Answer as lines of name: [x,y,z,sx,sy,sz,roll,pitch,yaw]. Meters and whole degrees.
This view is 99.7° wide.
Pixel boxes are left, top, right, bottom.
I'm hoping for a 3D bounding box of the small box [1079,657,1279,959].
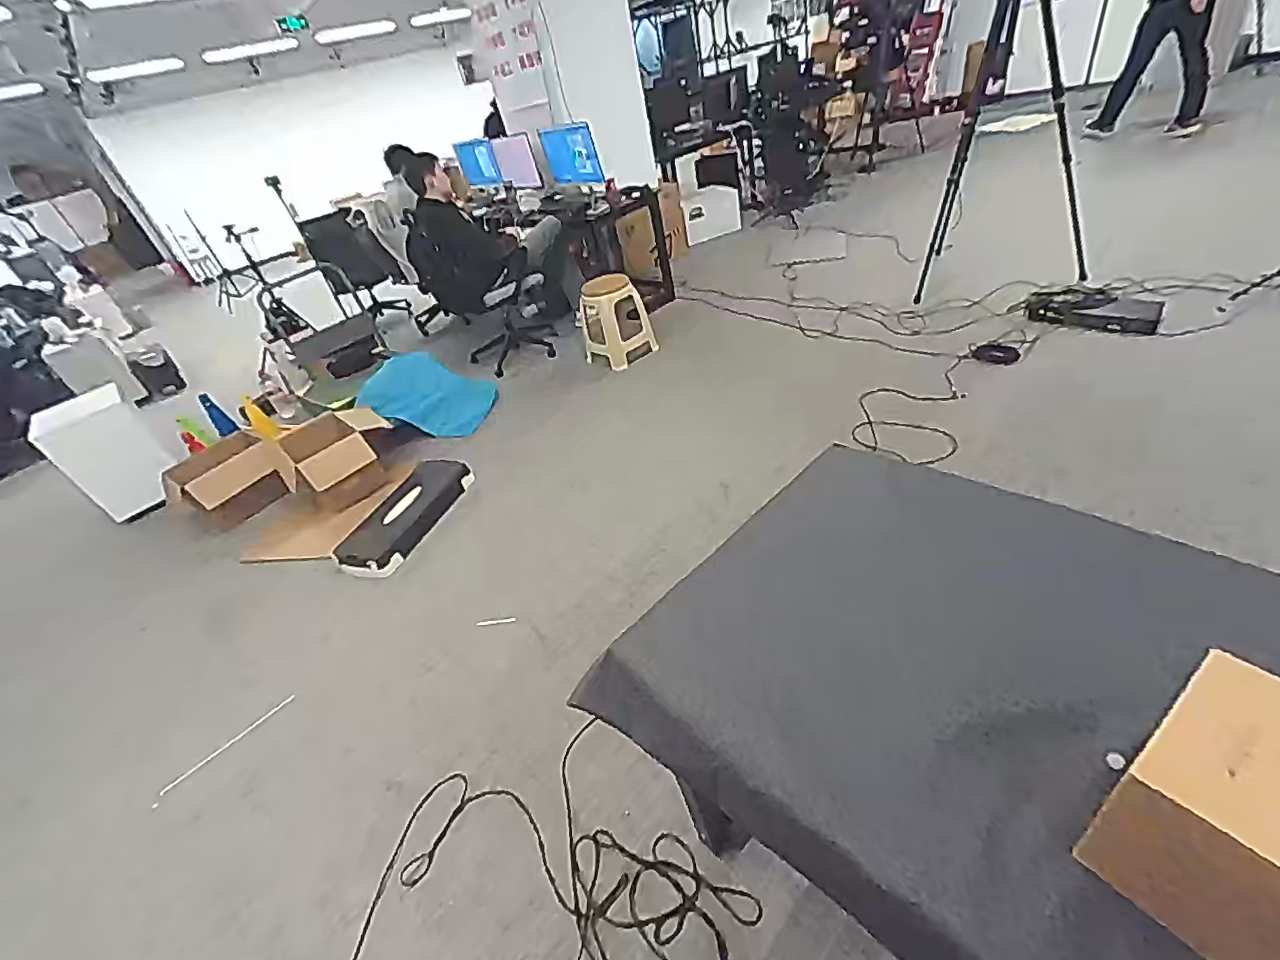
small box: [0.502,0.288,0.427,0.168,0.176,0.179,-30,38,-23]
